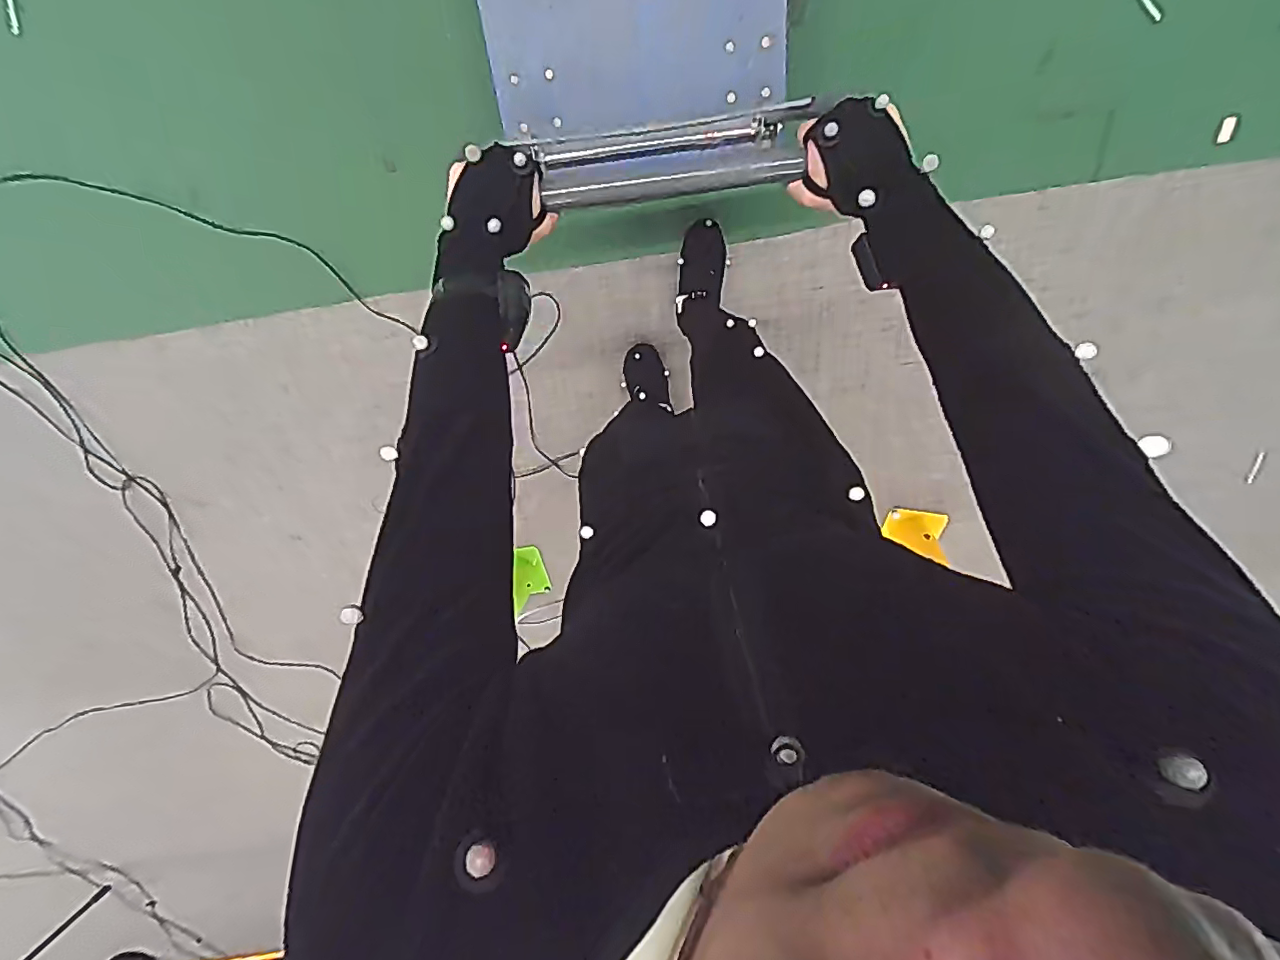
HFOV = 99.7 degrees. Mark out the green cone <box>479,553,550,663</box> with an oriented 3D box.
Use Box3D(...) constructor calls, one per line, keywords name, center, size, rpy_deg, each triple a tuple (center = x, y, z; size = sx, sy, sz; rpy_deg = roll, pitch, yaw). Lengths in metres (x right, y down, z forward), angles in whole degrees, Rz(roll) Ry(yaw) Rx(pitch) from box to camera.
Box3D(name="green cone", center=(-0.433, 0.420, 1.708), size=(0.202, 0.368, 0.200), rpy_deg=(-10, 118, 8))
